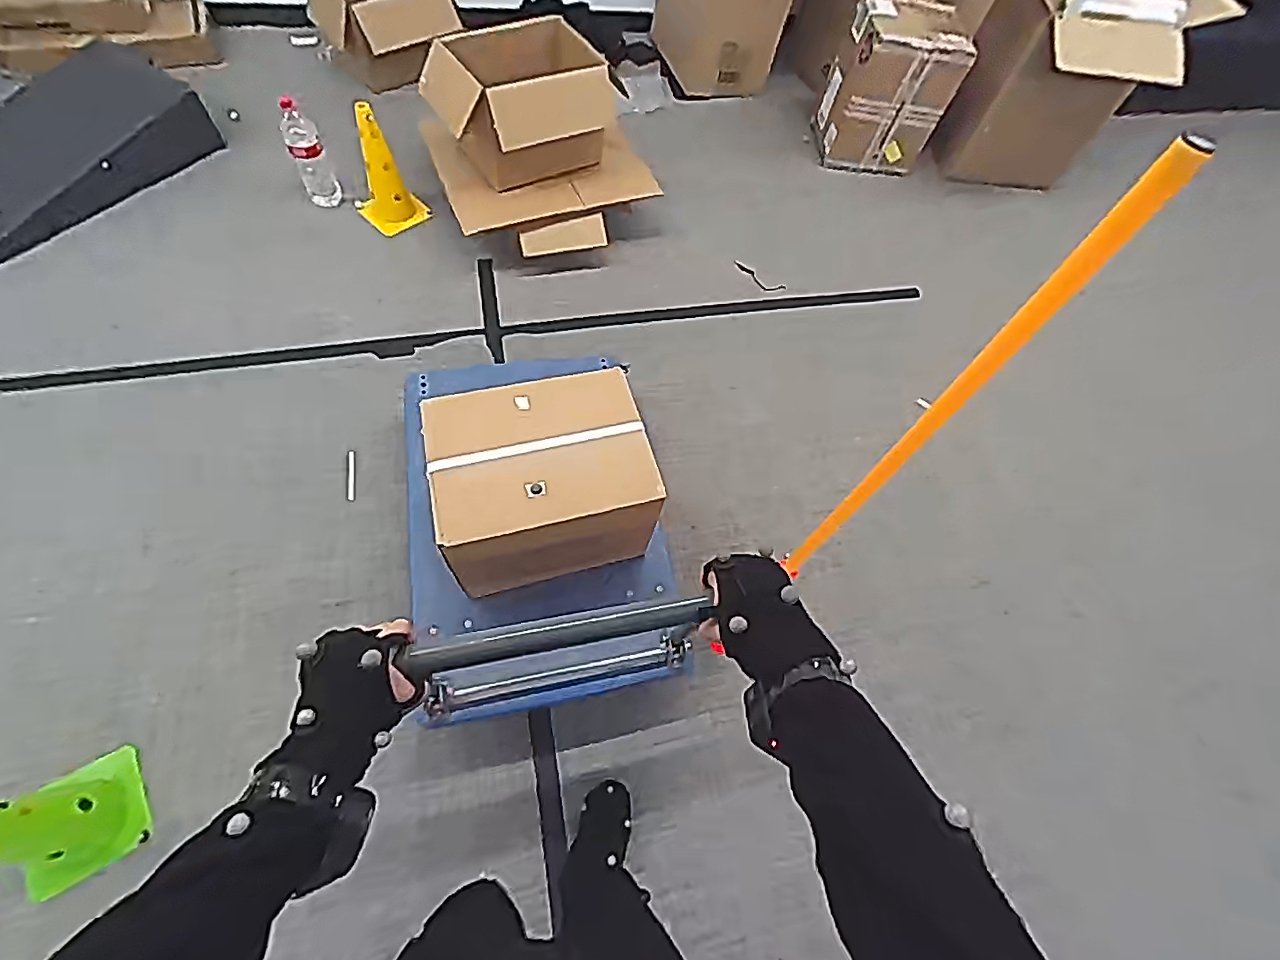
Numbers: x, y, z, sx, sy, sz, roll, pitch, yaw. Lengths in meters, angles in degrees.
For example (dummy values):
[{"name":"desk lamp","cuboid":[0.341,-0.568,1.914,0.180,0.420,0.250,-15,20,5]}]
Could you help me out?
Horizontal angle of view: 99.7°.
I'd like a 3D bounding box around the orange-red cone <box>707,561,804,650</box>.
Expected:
[{"name":"orange-red cone","cuboid":[0.298,0.260,1.252,0.199,0.360,0.198,-3,64,-9]}]
